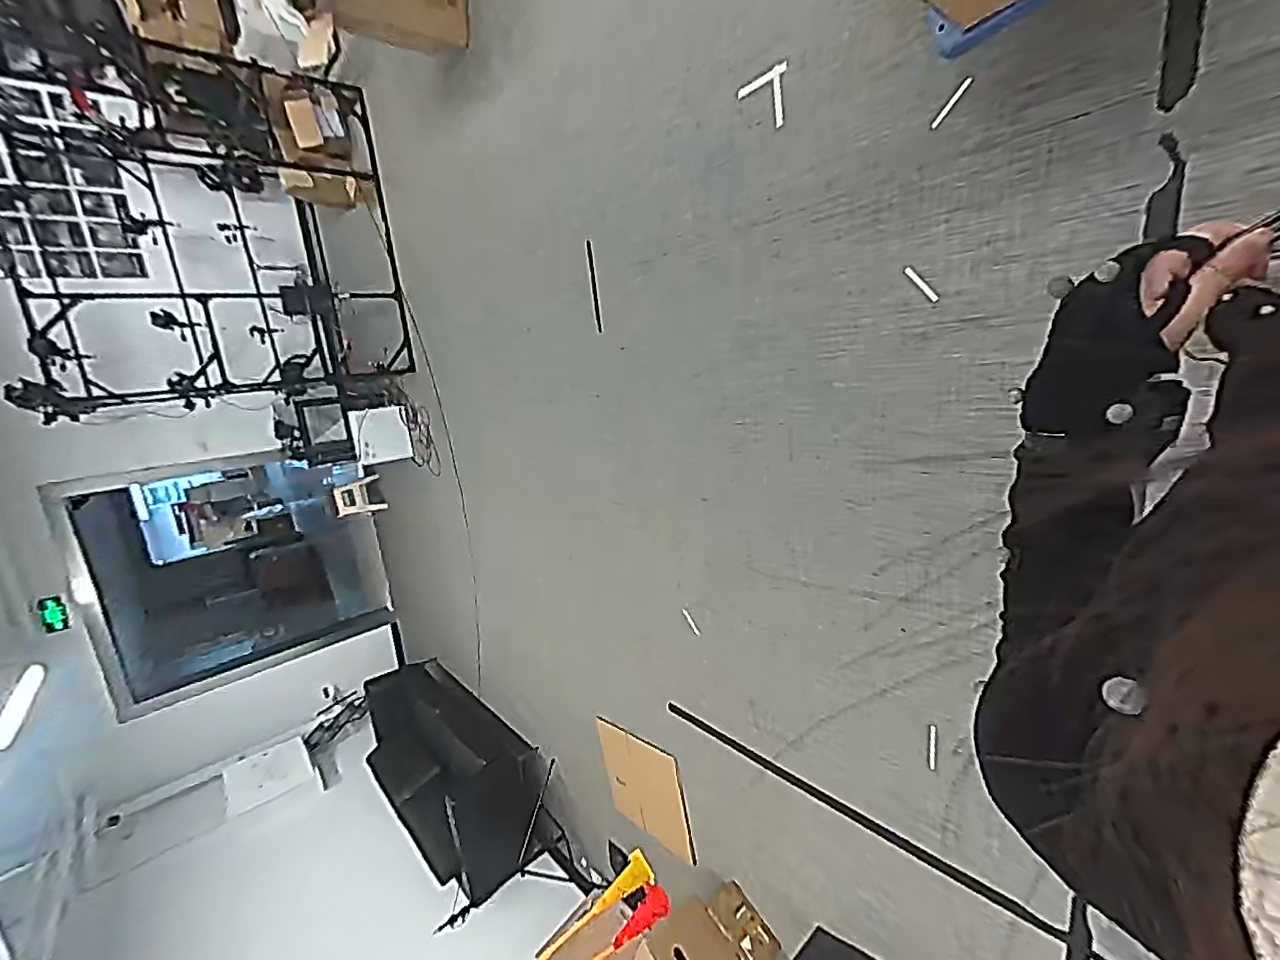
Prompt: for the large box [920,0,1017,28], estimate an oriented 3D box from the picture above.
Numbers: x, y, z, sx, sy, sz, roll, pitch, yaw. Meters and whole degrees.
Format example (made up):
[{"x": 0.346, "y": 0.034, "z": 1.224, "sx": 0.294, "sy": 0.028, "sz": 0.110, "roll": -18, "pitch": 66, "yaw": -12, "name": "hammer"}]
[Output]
[{"x": 0.625, "y": -0.993, "z": 0.797, "sx": 0.408, "sy": 0.320, "sz": 0.320, "roll": 2, "pitch": 104, "yaw": 50, "name": "large box"}]
